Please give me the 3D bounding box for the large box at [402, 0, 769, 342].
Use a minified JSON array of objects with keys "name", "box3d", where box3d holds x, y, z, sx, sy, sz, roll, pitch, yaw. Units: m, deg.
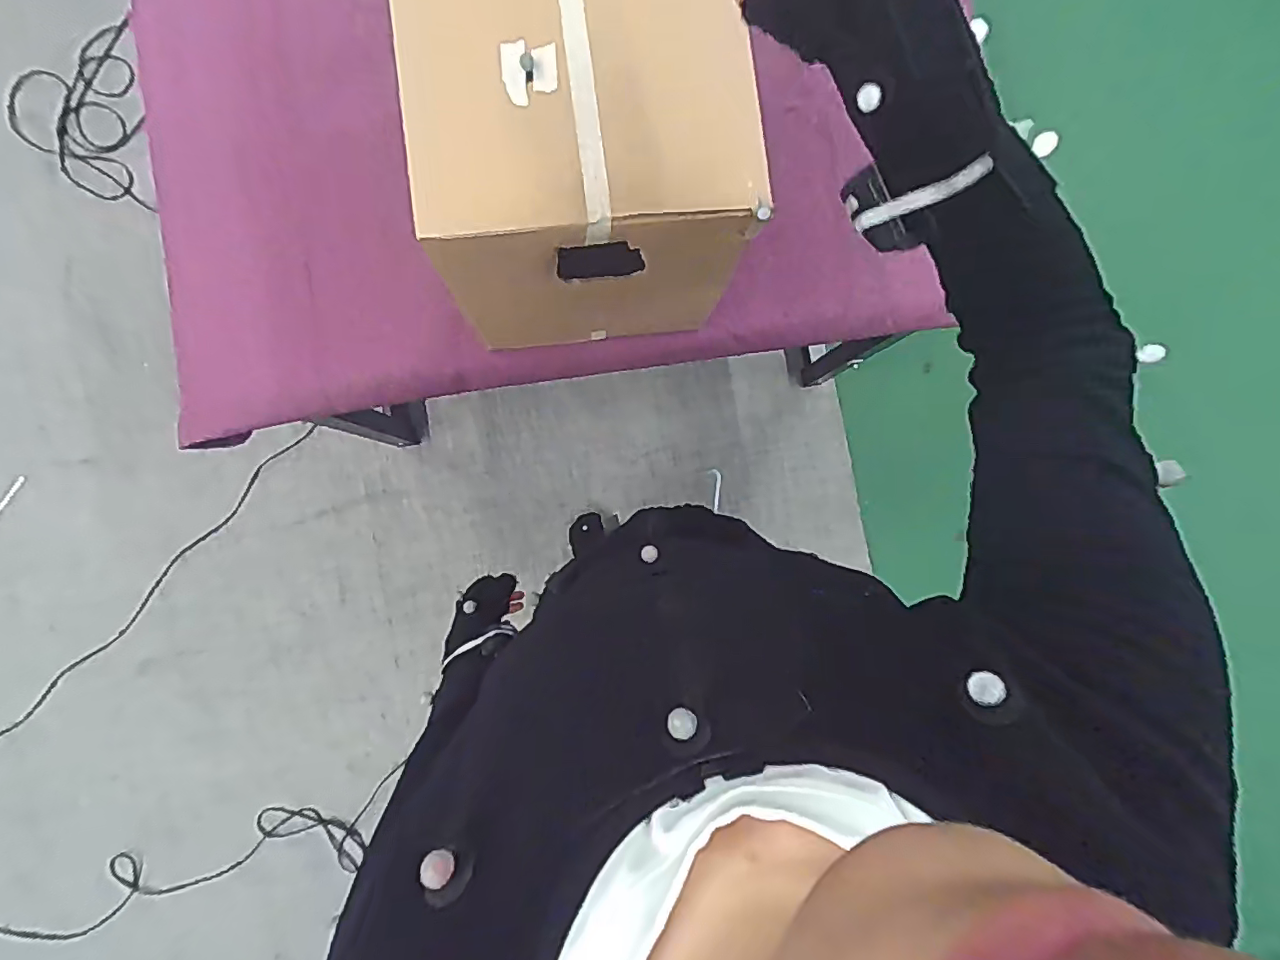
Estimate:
[{"name":"large box","box3d":[-0.070,-0.415,0.642,0.320,0.320,0.408,-7,88,-5]}]
